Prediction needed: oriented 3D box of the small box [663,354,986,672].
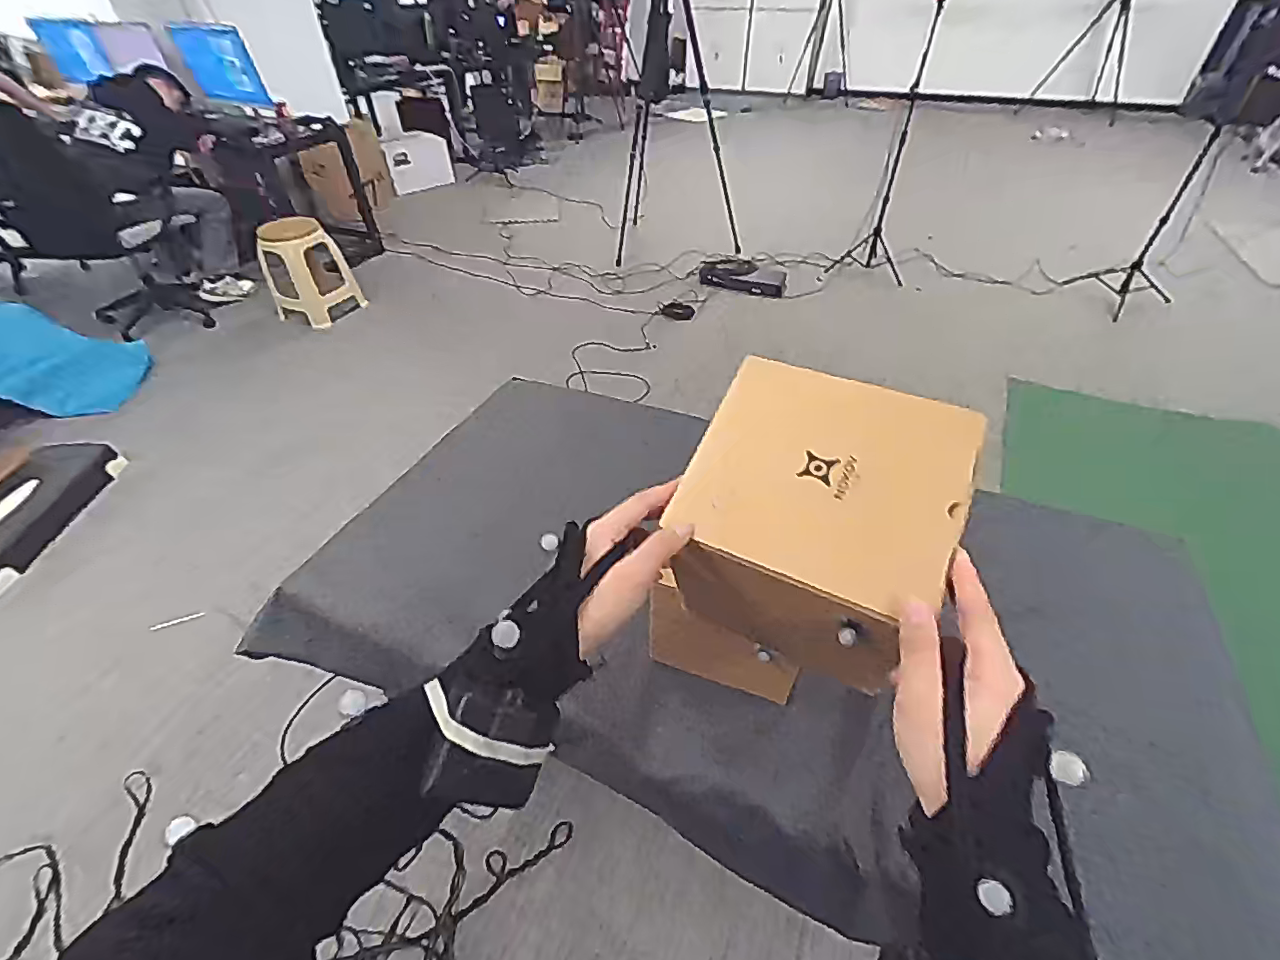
[{"bbox_3d":[0.136,0.032,0.433,0.179,0.176,0.168,20,63,19],"label":"small box"}]
